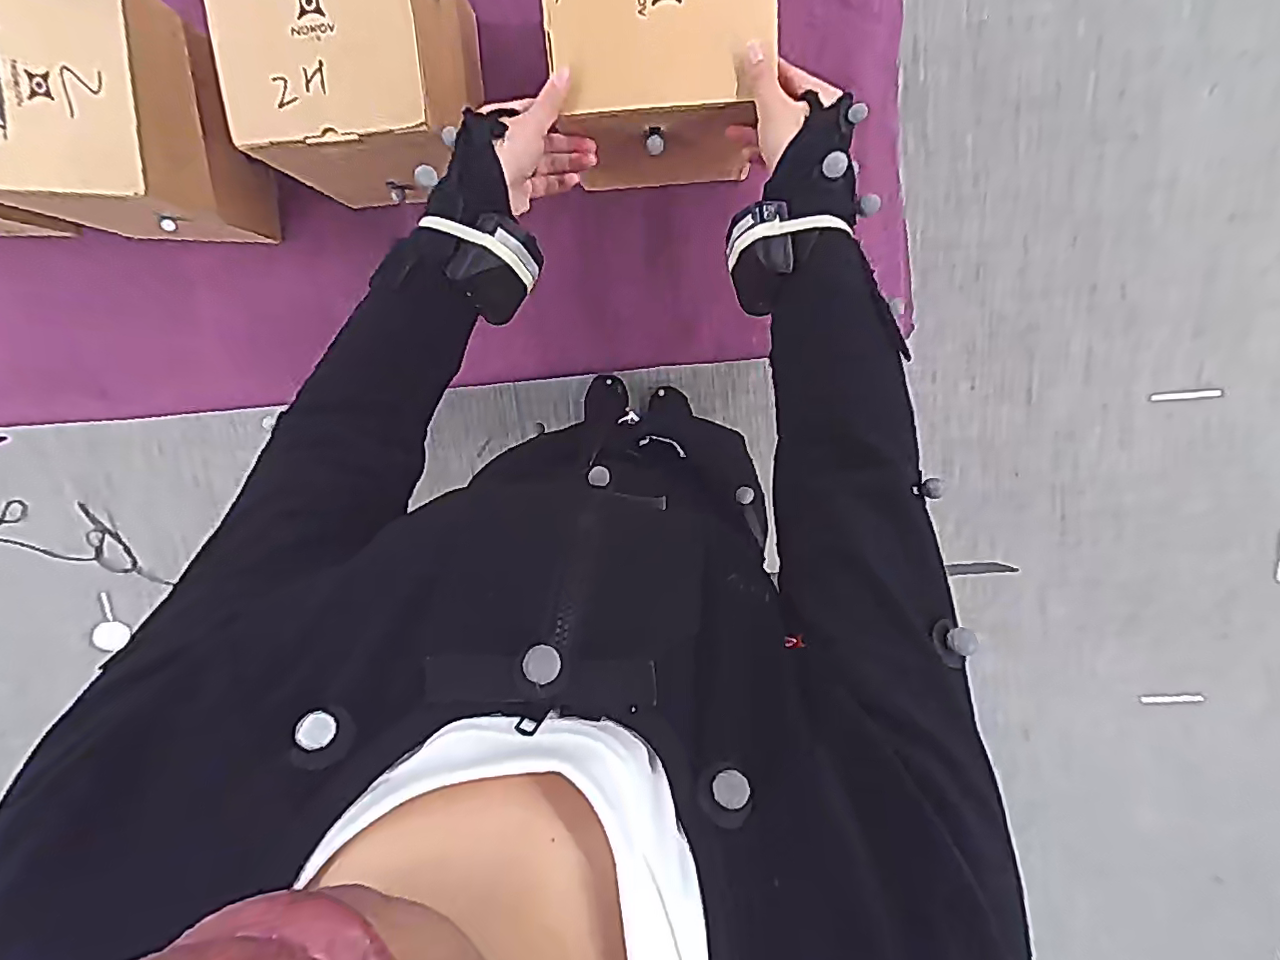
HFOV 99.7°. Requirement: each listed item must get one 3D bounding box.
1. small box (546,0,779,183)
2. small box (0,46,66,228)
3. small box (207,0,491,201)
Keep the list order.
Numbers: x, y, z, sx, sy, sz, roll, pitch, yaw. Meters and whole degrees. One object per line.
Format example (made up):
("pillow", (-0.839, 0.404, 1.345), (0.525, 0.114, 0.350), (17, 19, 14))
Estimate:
("small box", (0.019, -0.384, 0.481), (0.179, 0.176, 0.168), (-2, 100, 5))
("small box", (-0.725, -0.354, 0.523), (0.168, 0.176, 0.179), (1, 102, 2))
("small box", (-0.248, -0.380, 0.495), (0.168, 0.176, 0.179), (-3, 101, 4))
